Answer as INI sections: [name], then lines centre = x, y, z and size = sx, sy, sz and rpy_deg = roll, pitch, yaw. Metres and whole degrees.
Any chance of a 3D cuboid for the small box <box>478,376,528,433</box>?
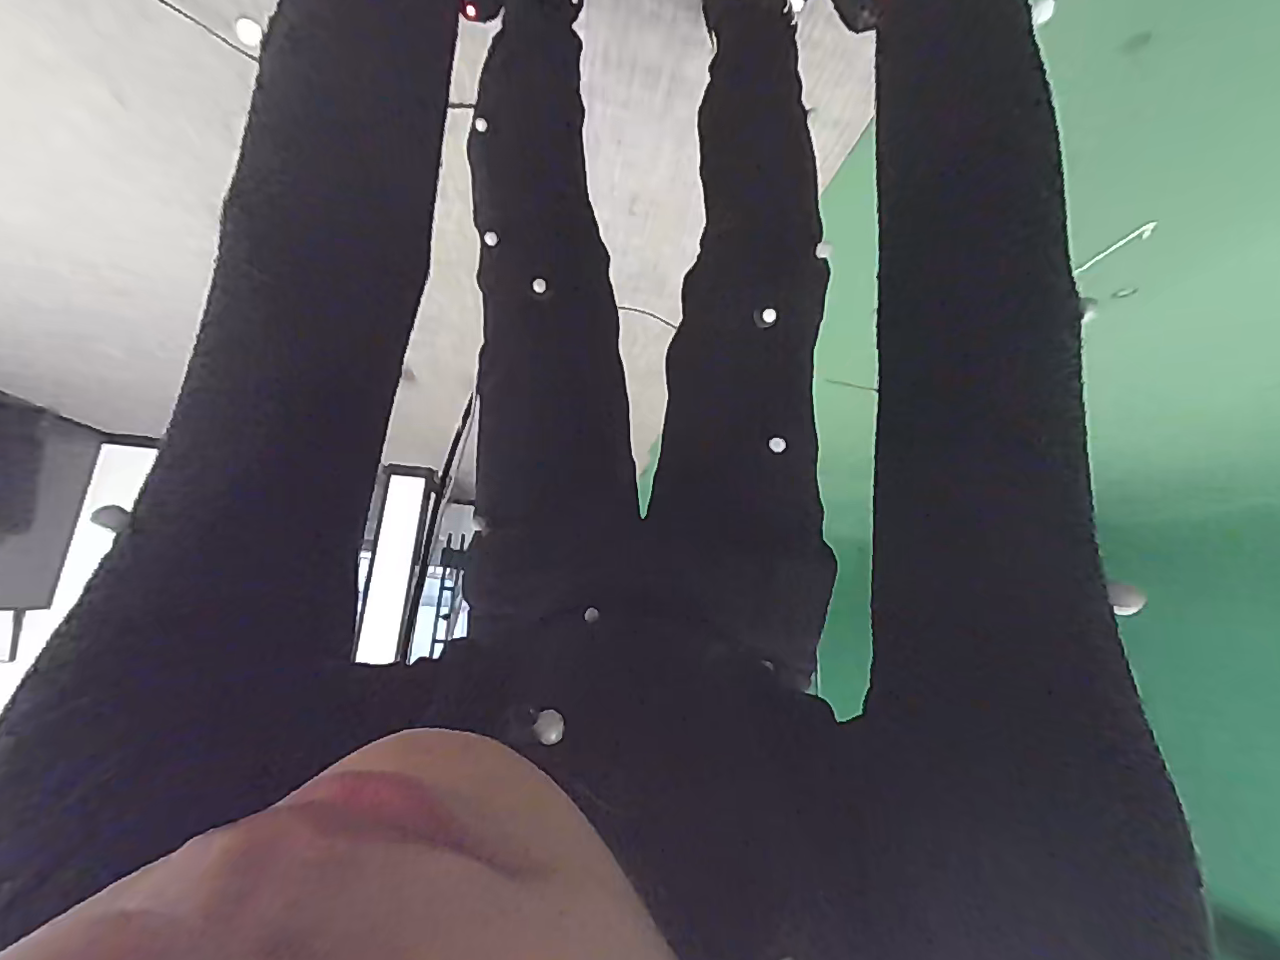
[small box]
centre = -0.547, -0.301, 2.157
size = 0.179, 0.176, 0.168
rpy_deg = 8, 165, -14
